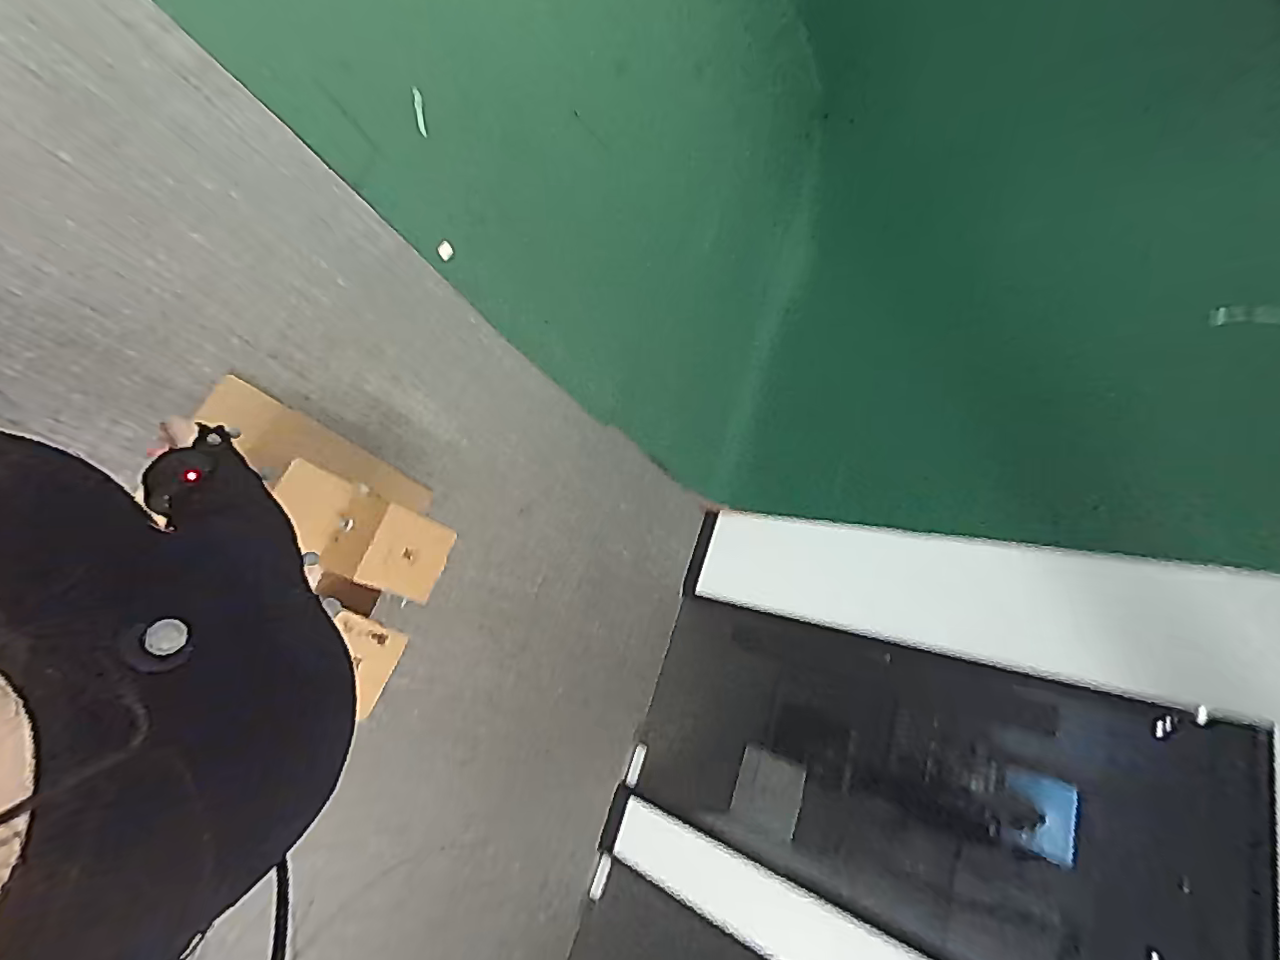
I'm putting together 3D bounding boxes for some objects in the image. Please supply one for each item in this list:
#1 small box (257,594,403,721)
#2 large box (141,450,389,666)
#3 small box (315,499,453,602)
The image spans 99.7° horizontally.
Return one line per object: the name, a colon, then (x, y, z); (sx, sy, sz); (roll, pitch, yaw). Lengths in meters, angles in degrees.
small box: (-0.625, 0.351, 1.085); (0.168, 0.176, 0.179); (48, 57, -43)
large box: (-0.810, 0.182, 1.230); (0.320, 0.320, 0.408); (41, 64, -46)
small box: (-0.549, 0.147, 1.164); (0.179, 0.176, 0.168); (39, 63, -48)
